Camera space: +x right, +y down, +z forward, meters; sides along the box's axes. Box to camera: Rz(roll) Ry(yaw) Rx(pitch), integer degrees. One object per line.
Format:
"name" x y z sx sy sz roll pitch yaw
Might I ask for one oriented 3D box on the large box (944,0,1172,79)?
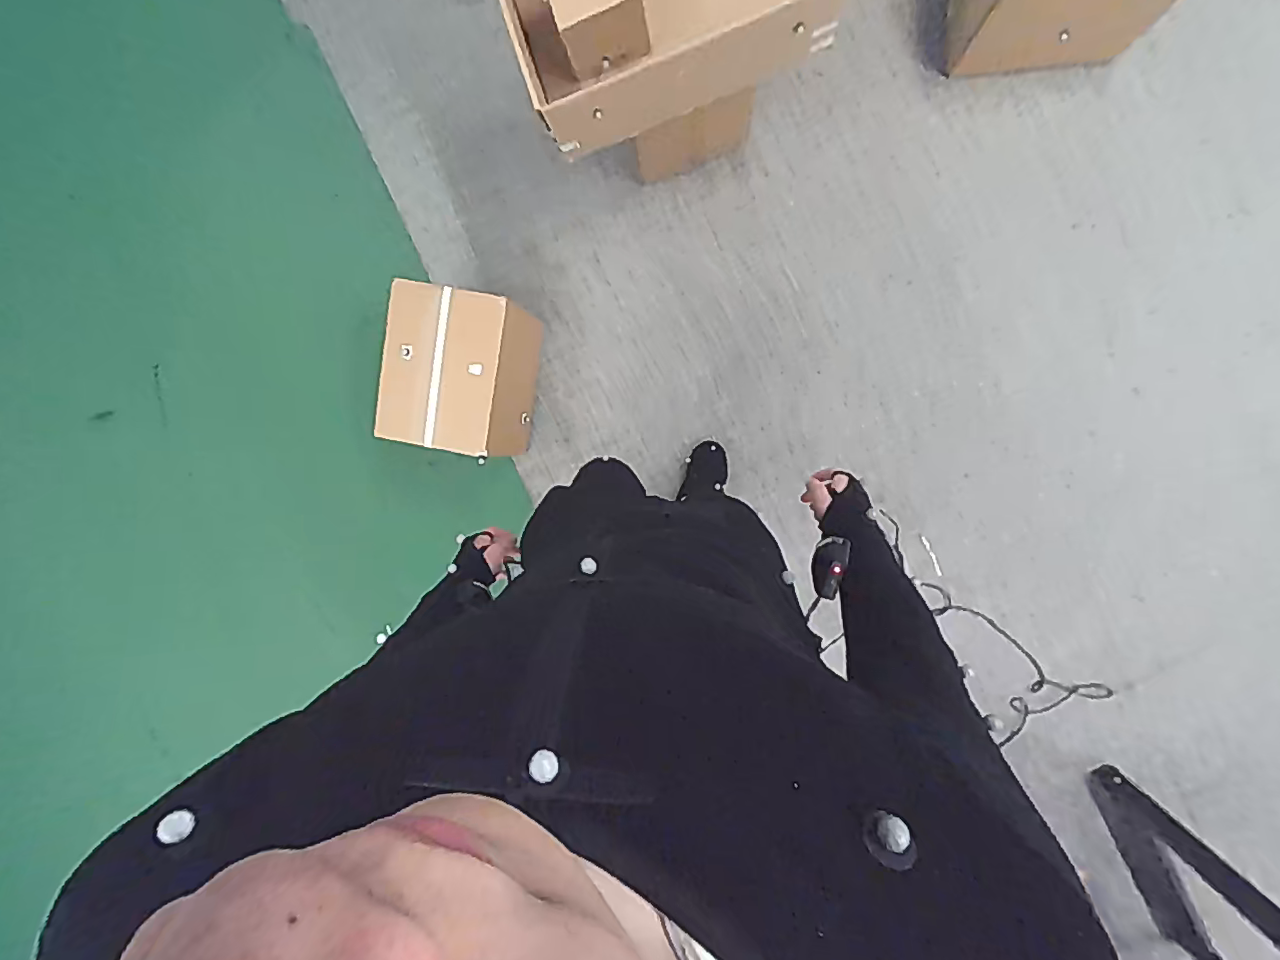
"large box" 0.971 -1.194 1.238 0.408 0.320 0.320 -1 95 8
